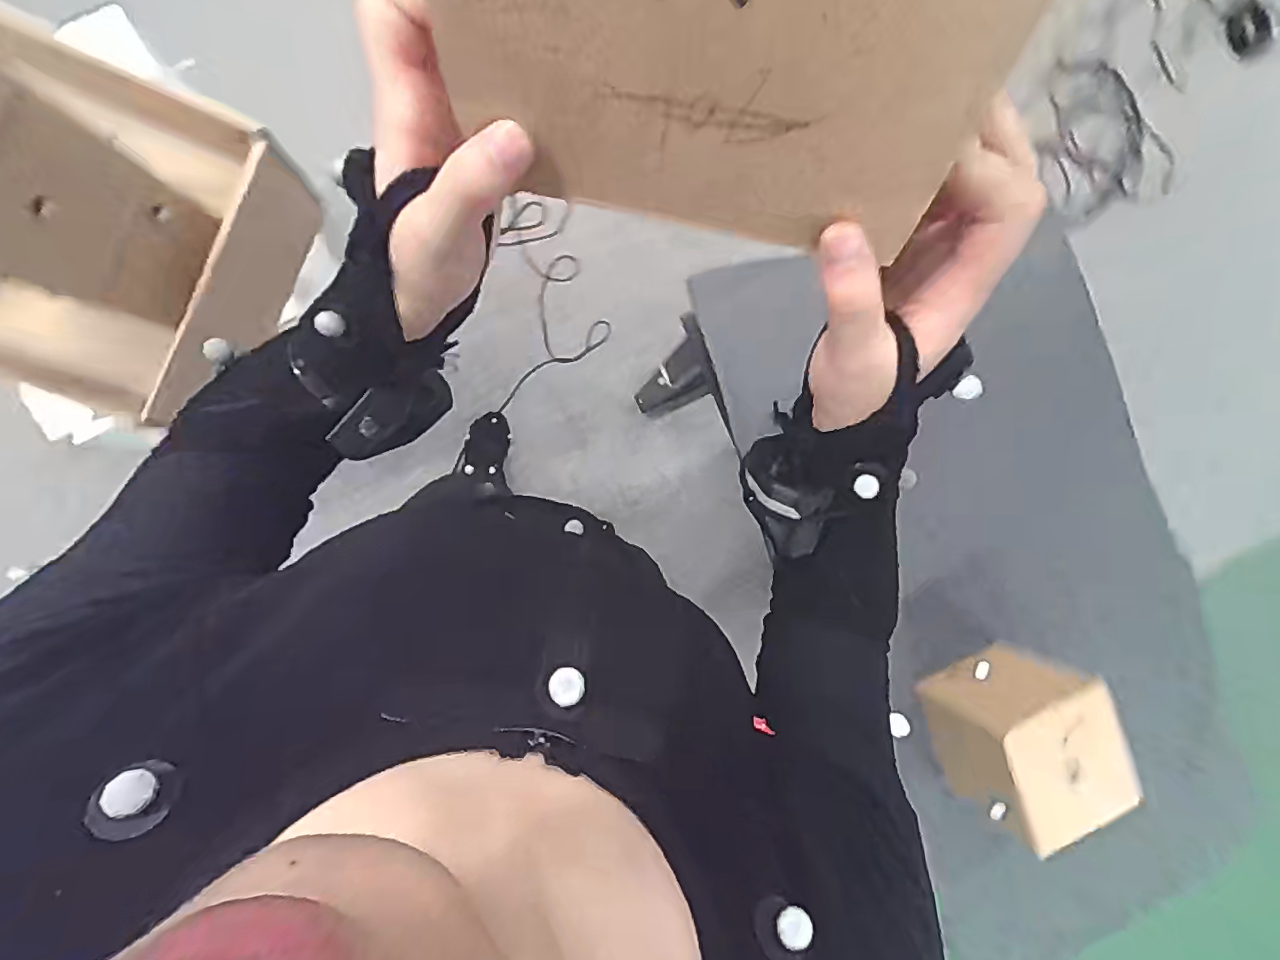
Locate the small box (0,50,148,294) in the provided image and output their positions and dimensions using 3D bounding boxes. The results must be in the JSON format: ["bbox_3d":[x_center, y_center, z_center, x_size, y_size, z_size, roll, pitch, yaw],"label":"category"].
[{"bbox_3d":[-0.645,-0.314,0.525,0.168,0.176,0.179,24,90,-6],"label":"small box"}]

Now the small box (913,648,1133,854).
[{"bbox_3d":[0.531,0.370,0.772,0.168,0.176,0.179,-20,93,-9],"label":"small box"}]
